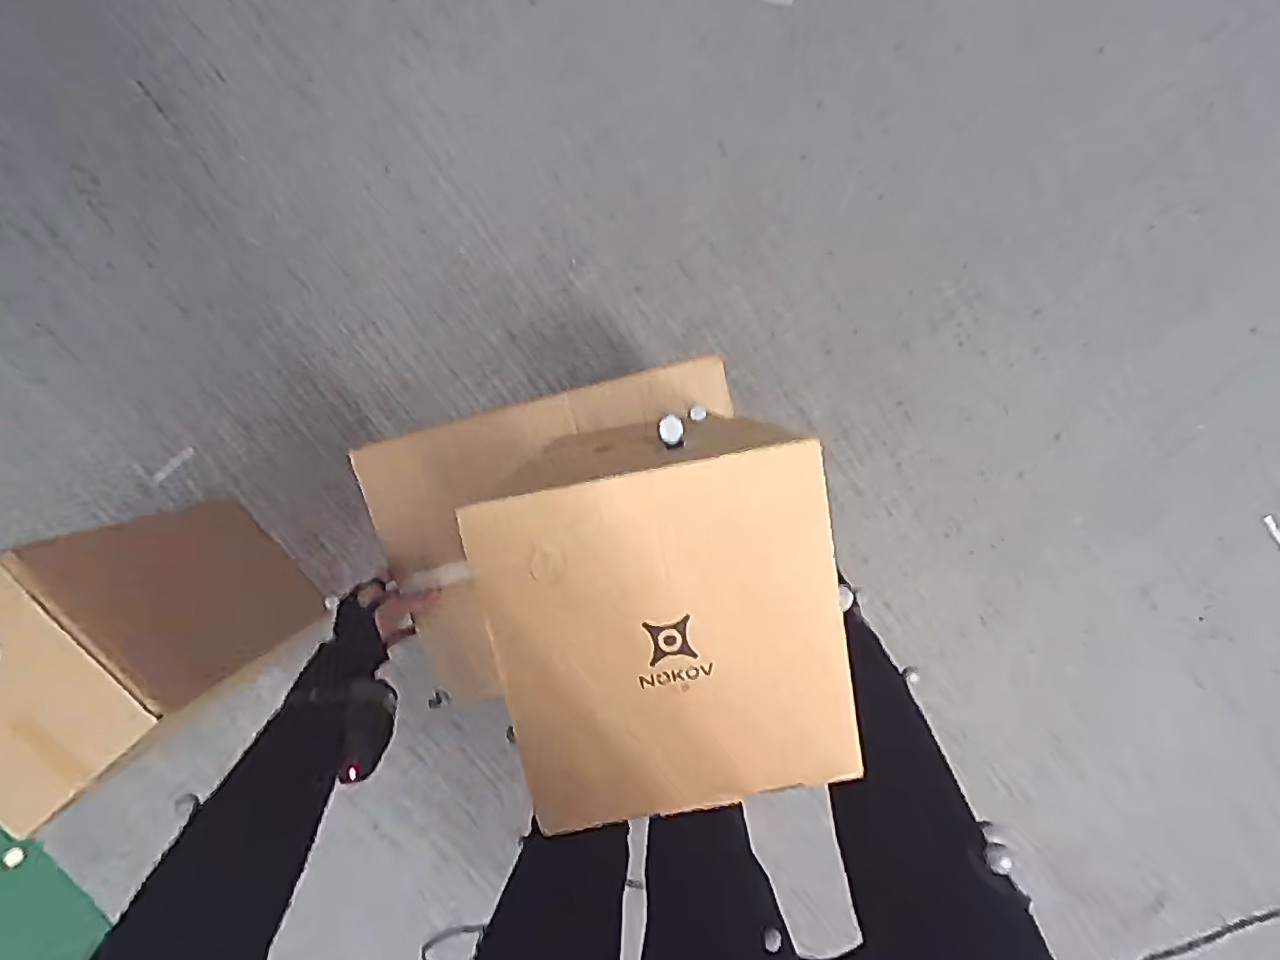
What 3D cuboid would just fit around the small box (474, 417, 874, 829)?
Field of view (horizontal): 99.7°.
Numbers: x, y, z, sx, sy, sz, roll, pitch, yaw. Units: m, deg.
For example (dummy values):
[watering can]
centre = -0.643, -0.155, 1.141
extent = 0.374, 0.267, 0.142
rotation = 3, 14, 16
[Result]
[small box]
centre = 0.018, 0.060, 0.330
extent = 0.168, 0.176, 0.179
rotation = -11, 101, 1
